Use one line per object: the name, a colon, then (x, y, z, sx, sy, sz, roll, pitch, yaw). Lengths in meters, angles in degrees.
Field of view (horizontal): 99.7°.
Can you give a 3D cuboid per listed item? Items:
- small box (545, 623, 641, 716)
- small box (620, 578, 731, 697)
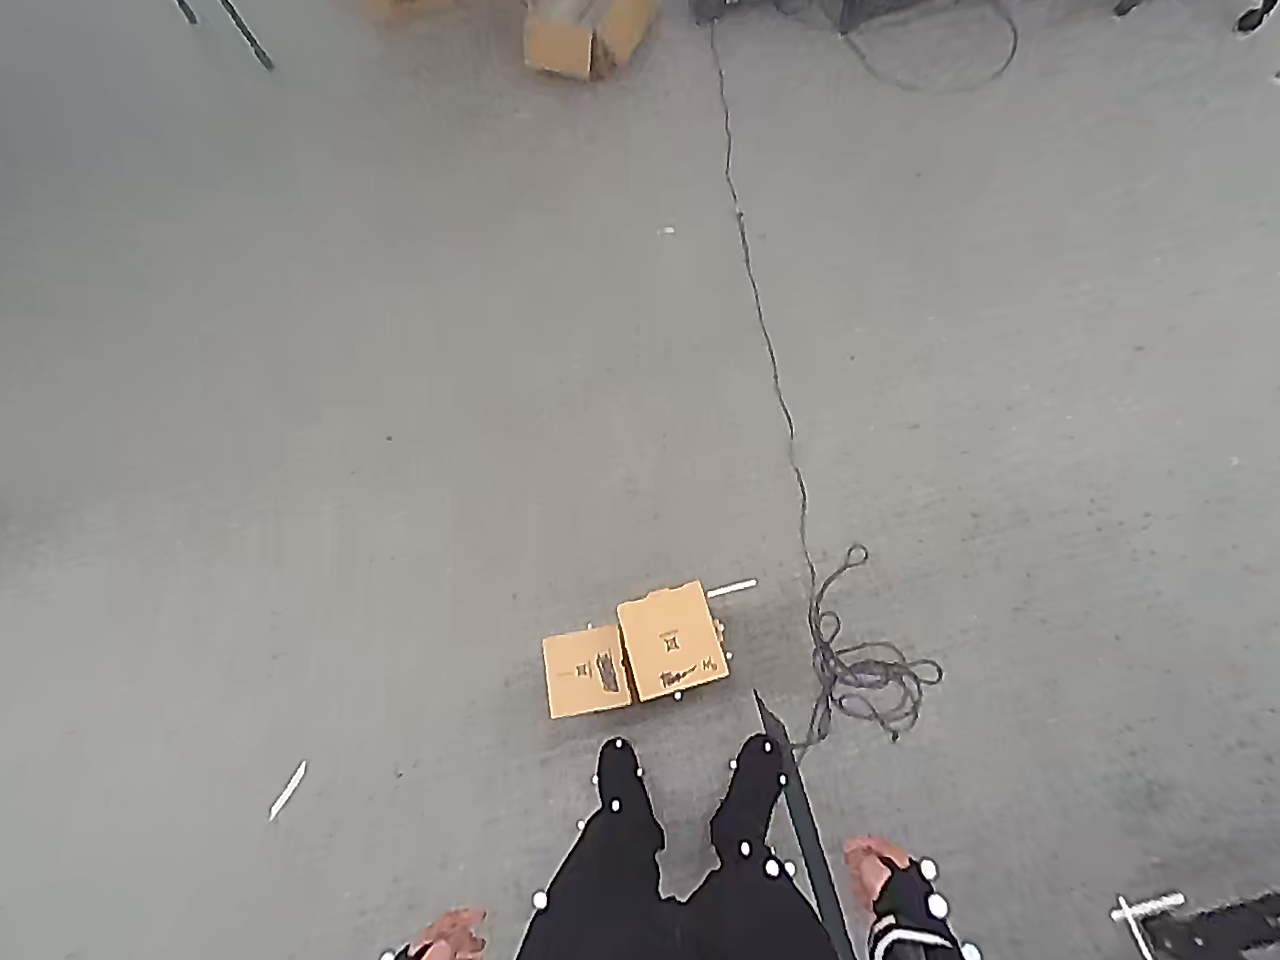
small box: (-0.096, 0.418, 1.208, 0.179, 0.176, 0.168, -13, 71, 7)
small box: (0.071, 0.305, 1.040, 0.168, 0.176, 0.179, -18, 70, 4)
